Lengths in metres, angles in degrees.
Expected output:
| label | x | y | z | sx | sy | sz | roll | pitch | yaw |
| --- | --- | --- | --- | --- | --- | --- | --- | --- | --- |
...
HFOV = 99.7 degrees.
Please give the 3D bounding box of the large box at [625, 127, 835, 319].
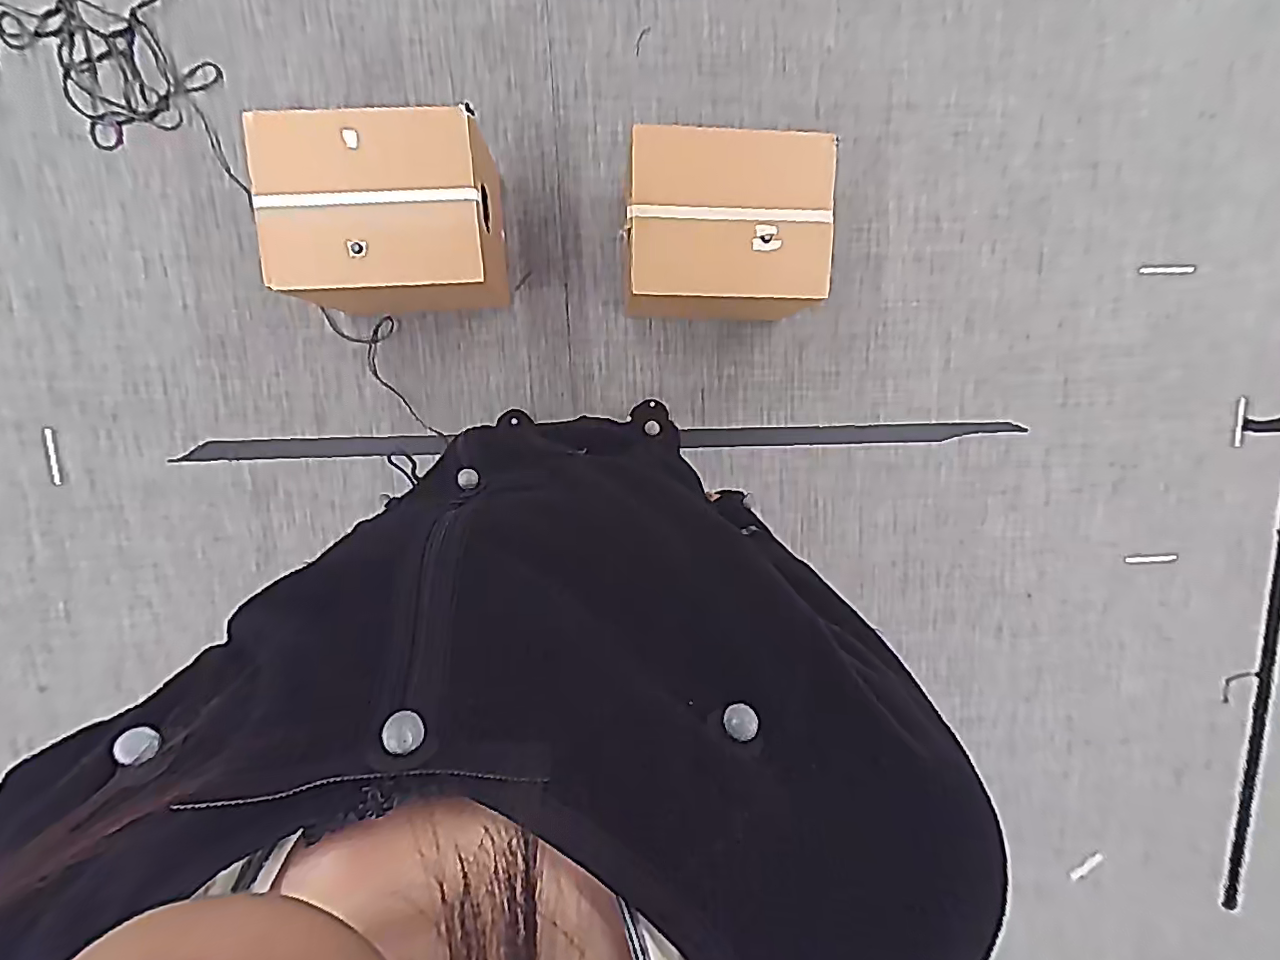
| label | x | y | z | sx | sy | sz | roll | pitch | yaw |
| --- | --- | --- | --- | --- | --- | --- | --- | --- | --- |
| large box | 0.174 | -0.546 | 1.218 | 0.408 | 0.320 | 0.320 | 0 | 99 | -5 |
